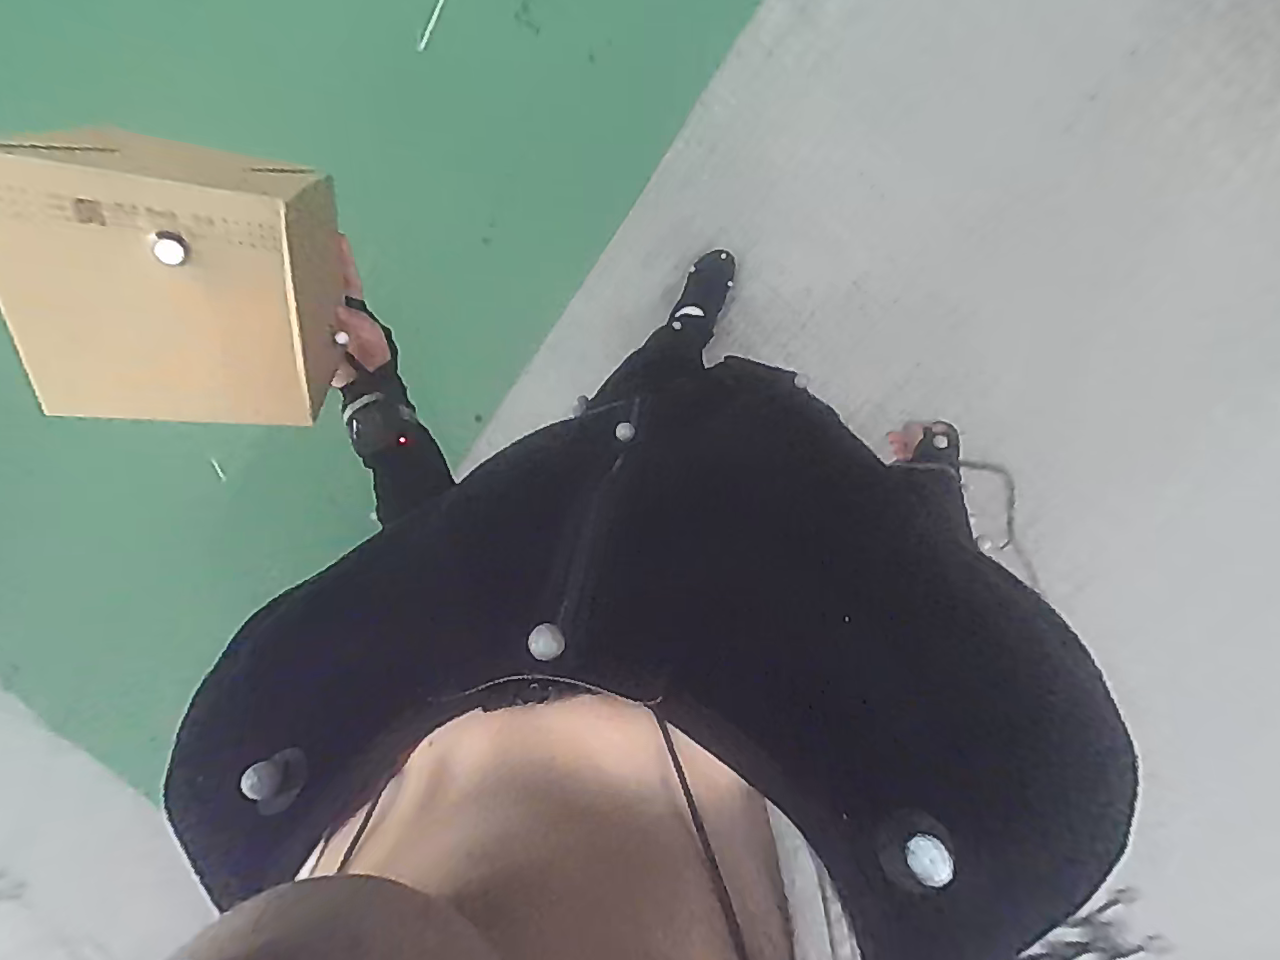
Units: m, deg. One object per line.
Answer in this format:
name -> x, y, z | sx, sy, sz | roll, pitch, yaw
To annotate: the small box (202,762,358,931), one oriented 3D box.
small box -> -0.655, 0.664, 0.998 | 0.179, 0.176, 0.168 | 20, 109, 5
